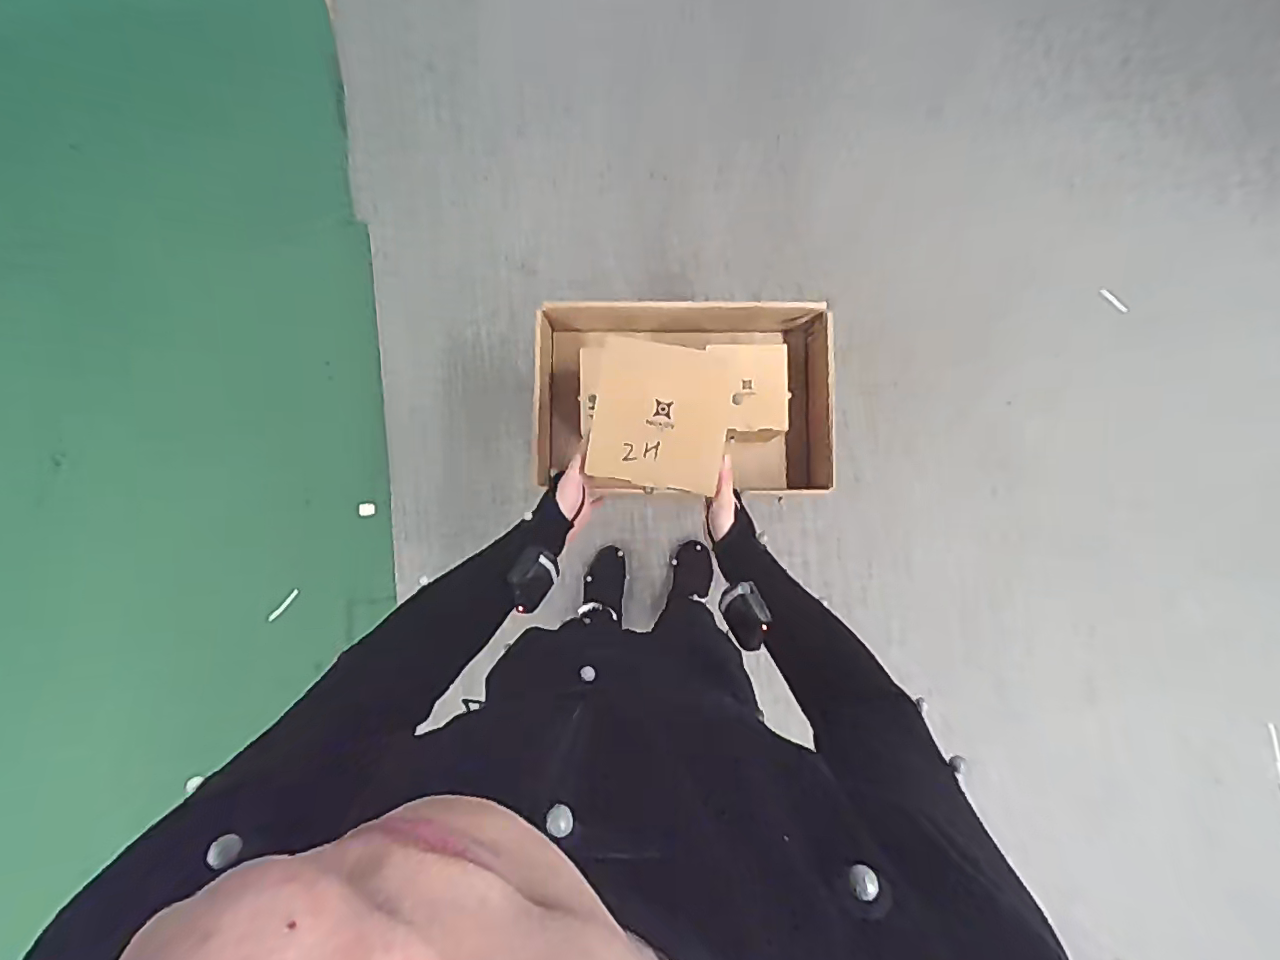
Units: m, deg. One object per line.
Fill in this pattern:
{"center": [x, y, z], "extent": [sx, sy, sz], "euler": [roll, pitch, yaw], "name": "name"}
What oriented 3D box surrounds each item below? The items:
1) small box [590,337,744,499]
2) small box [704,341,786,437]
{"center": [0.033, -0.079, 0.741], "extent": [0.168, 0.176, 0.179], "euler": [10, 93, 1], "name": "small box"}
{"center": [0.210, -0.190, 1.166], "extent": [0.168, 0.176, 0.179], "euler": [-1, 88, 0], "name": "small box"}
